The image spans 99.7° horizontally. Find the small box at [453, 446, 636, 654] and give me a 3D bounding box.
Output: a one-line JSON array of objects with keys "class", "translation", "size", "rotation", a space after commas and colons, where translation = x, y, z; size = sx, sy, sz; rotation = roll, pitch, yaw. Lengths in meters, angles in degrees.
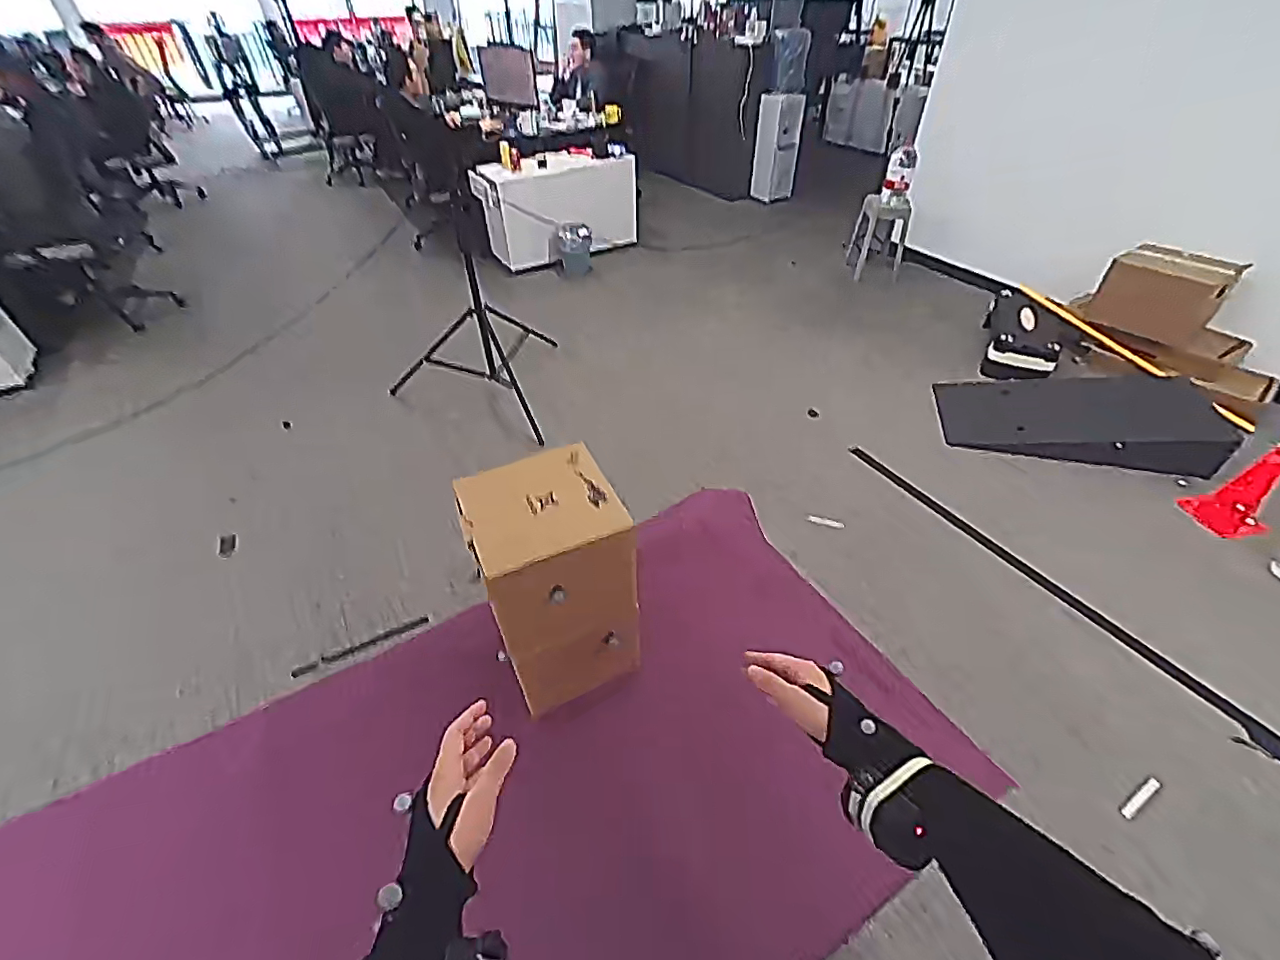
[{"class": "small box", "translation": [-0.115, 0.089, 0.688], "size": [0.179, 0.176, 0.168], "rotation": [-20, 47, -18]}]

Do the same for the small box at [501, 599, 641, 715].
[{"class": "small box", "translation": [-0.111, 0.210, 0.800], "size": [0.179, 0.176, 0.168], "rotation": [-20, 46, -19]}]
